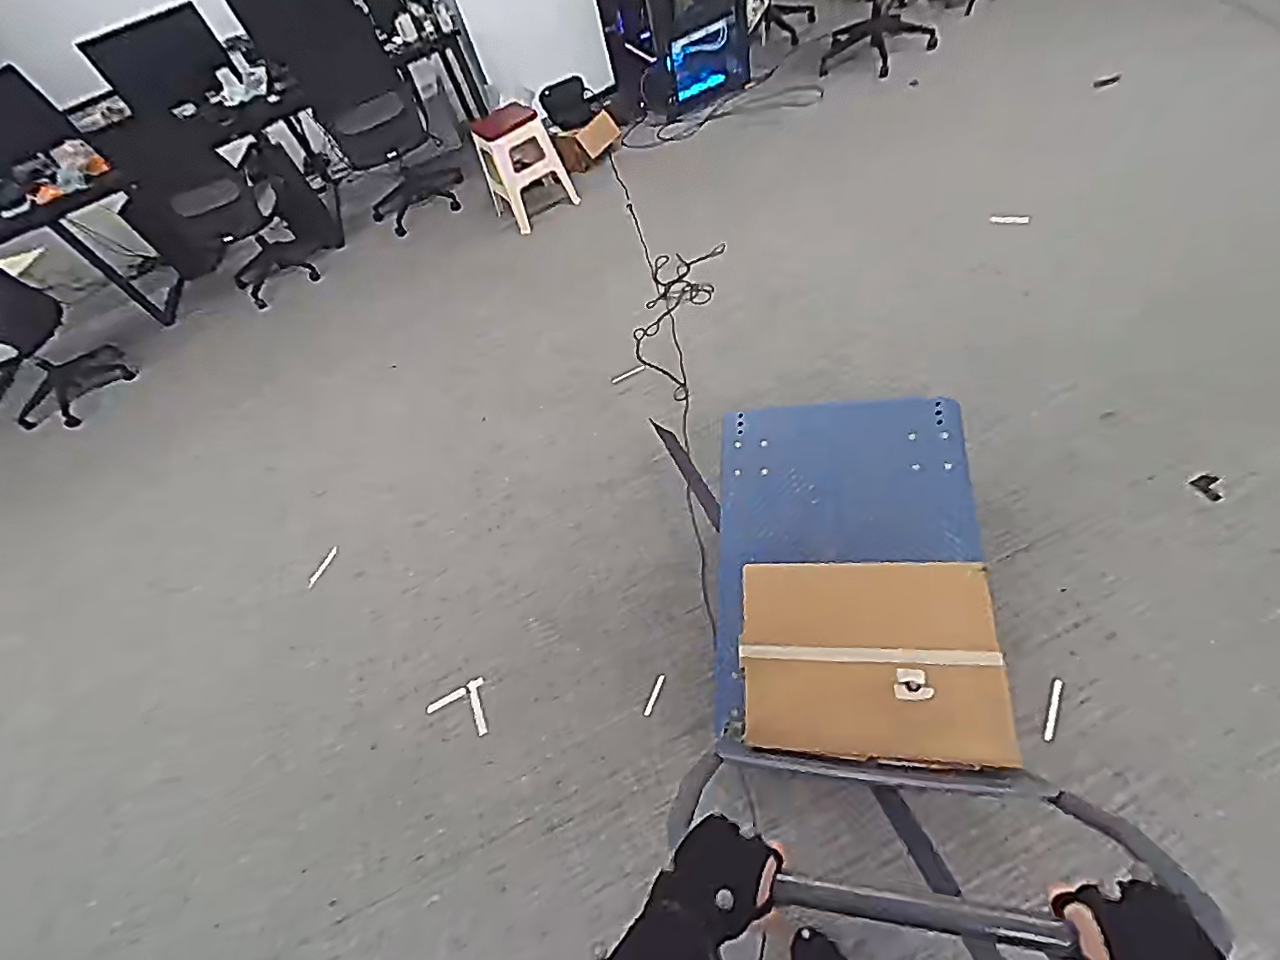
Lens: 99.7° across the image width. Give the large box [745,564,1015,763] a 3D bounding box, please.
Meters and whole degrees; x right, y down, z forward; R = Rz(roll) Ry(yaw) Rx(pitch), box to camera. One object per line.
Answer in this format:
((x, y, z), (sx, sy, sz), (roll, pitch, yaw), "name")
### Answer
((0.423, 0.355, 1.057), (0.408, 0.320, 0.320), (-3, 69, 15), "large box")
